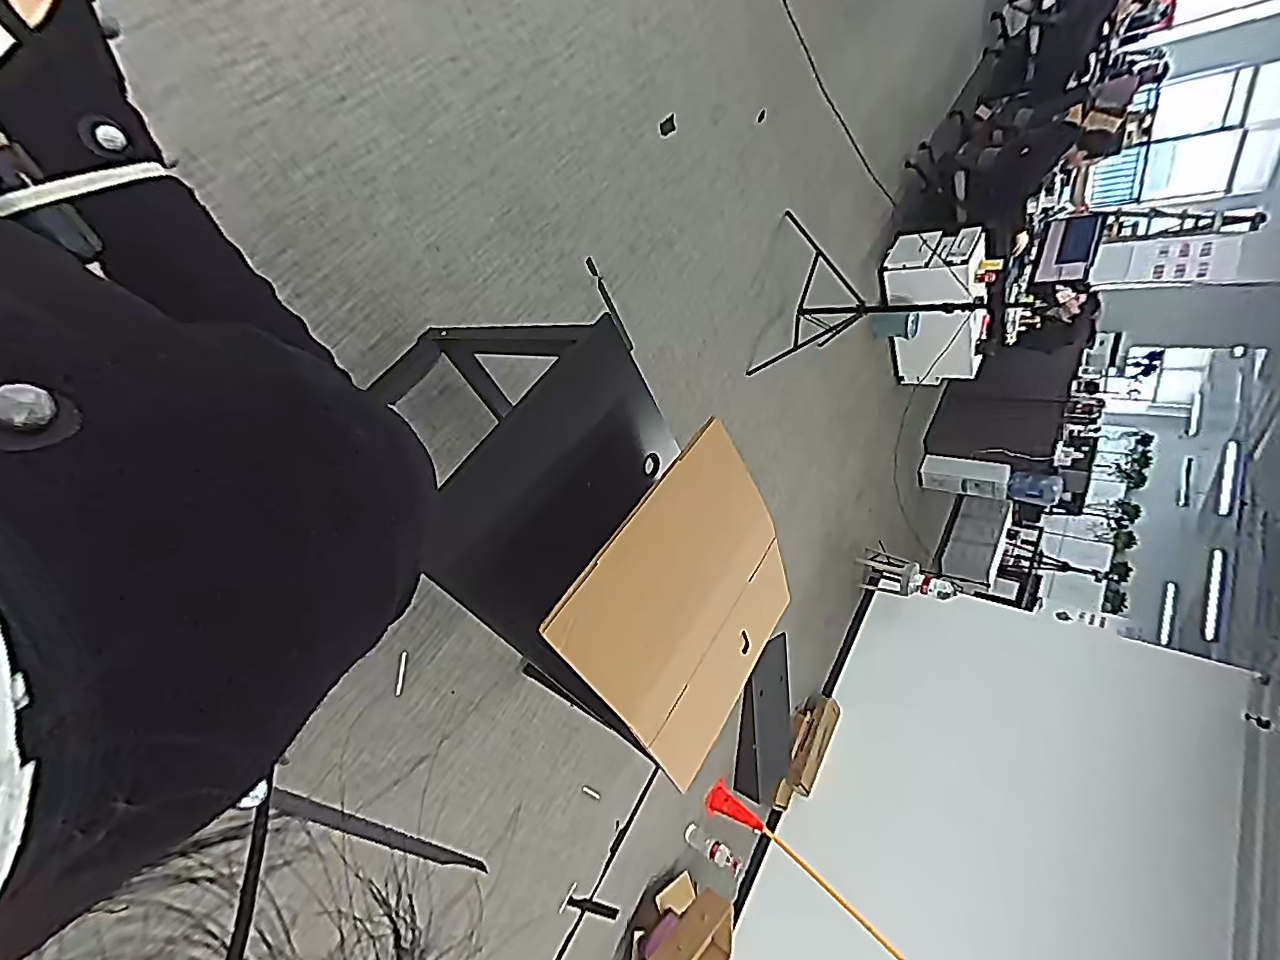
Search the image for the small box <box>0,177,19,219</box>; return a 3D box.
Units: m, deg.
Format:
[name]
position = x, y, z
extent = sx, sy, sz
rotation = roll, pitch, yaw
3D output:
[small box]
position = -1.134, -0.456, 0.830
extent = 0.179, 0.176, 0.168
rotation = -57, 136, -21
